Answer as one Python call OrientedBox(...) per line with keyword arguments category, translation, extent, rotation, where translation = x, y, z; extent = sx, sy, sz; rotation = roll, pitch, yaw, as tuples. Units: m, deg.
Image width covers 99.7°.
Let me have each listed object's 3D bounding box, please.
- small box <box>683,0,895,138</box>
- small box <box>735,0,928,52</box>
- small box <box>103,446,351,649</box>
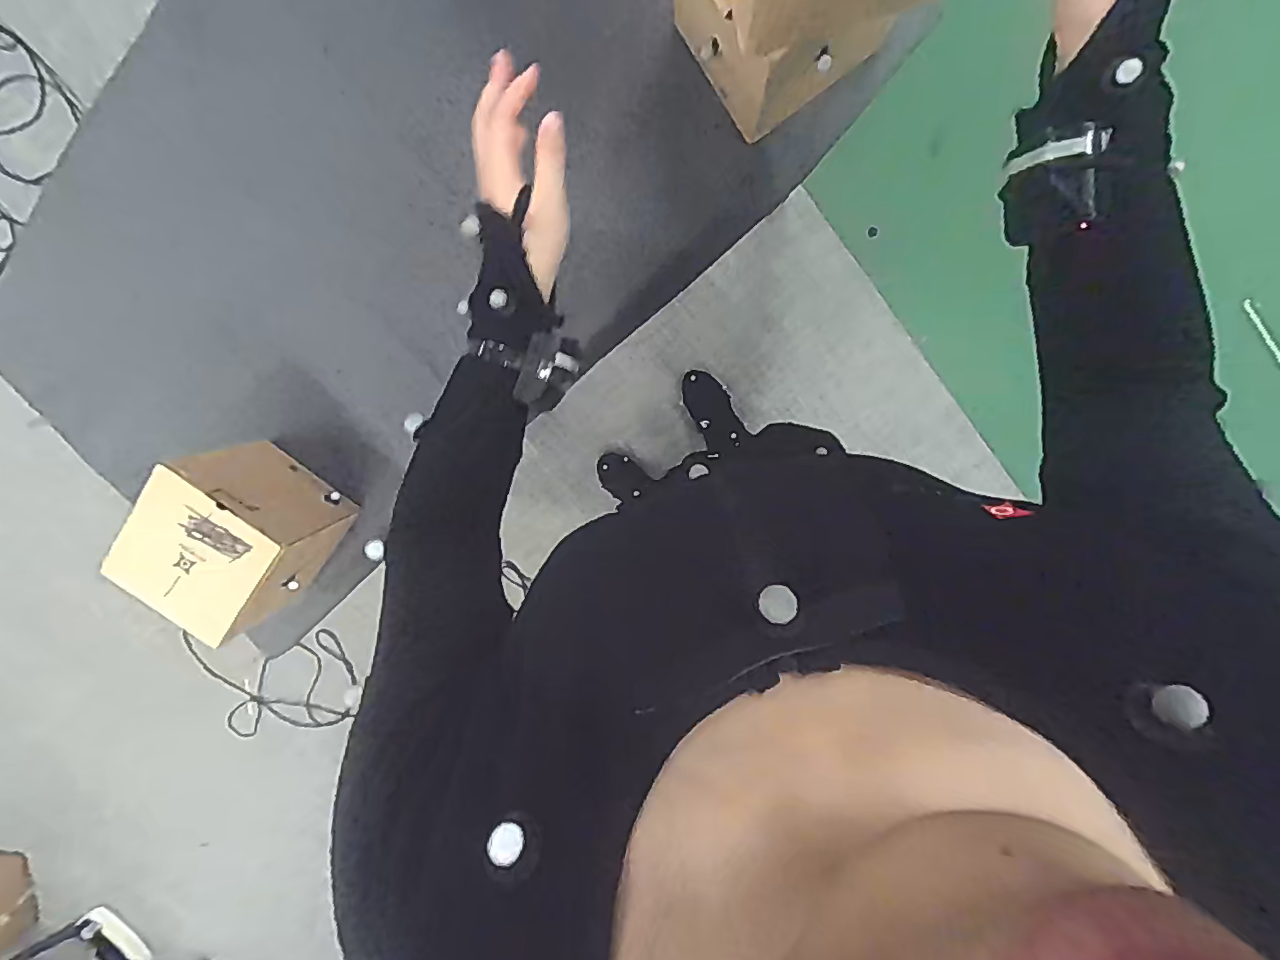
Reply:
OrientedBox(category="small box", translation=(0.151, -0.491, 0.538), extent=(0.179, 0.176, 0.168), rotation=(-33, 95, 11))
OrientedBox(category="small box", translation=(0.149, -0.451, 0.379), extent=(0.179, 0.176, 0.168), rotation=(-12, 99, 7))
OrientedBox(category="small box", translation=(-0.521, 0.075, 0.712), extent=(0.168, 0.176, 0.179), rotation=(38, 103, -6))
